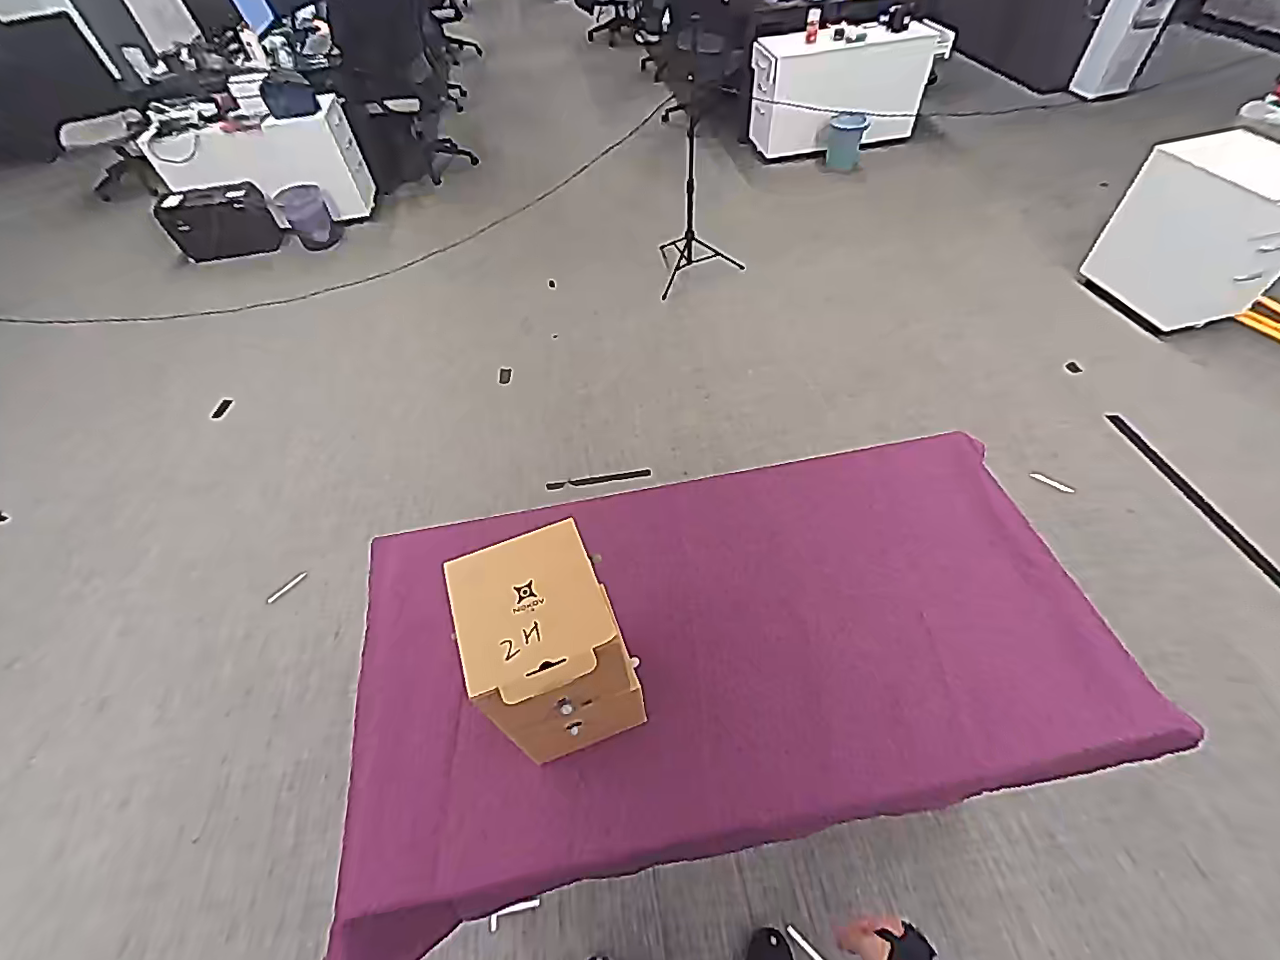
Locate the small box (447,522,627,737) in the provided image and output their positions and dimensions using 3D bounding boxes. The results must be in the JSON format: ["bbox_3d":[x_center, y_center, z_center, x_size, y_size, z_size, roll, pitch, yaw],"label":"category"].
[{"bbox_3d":[-0.123,0.188,0.675,0.168,0.176,0.179,-19,53,-10],"label":"small box"}]

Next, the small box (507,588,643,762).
[{"bbox_3d":[-0.104,0.292,0.802,0.179,0.176,0.168,-17,53,-10],"label":"small box"}]
